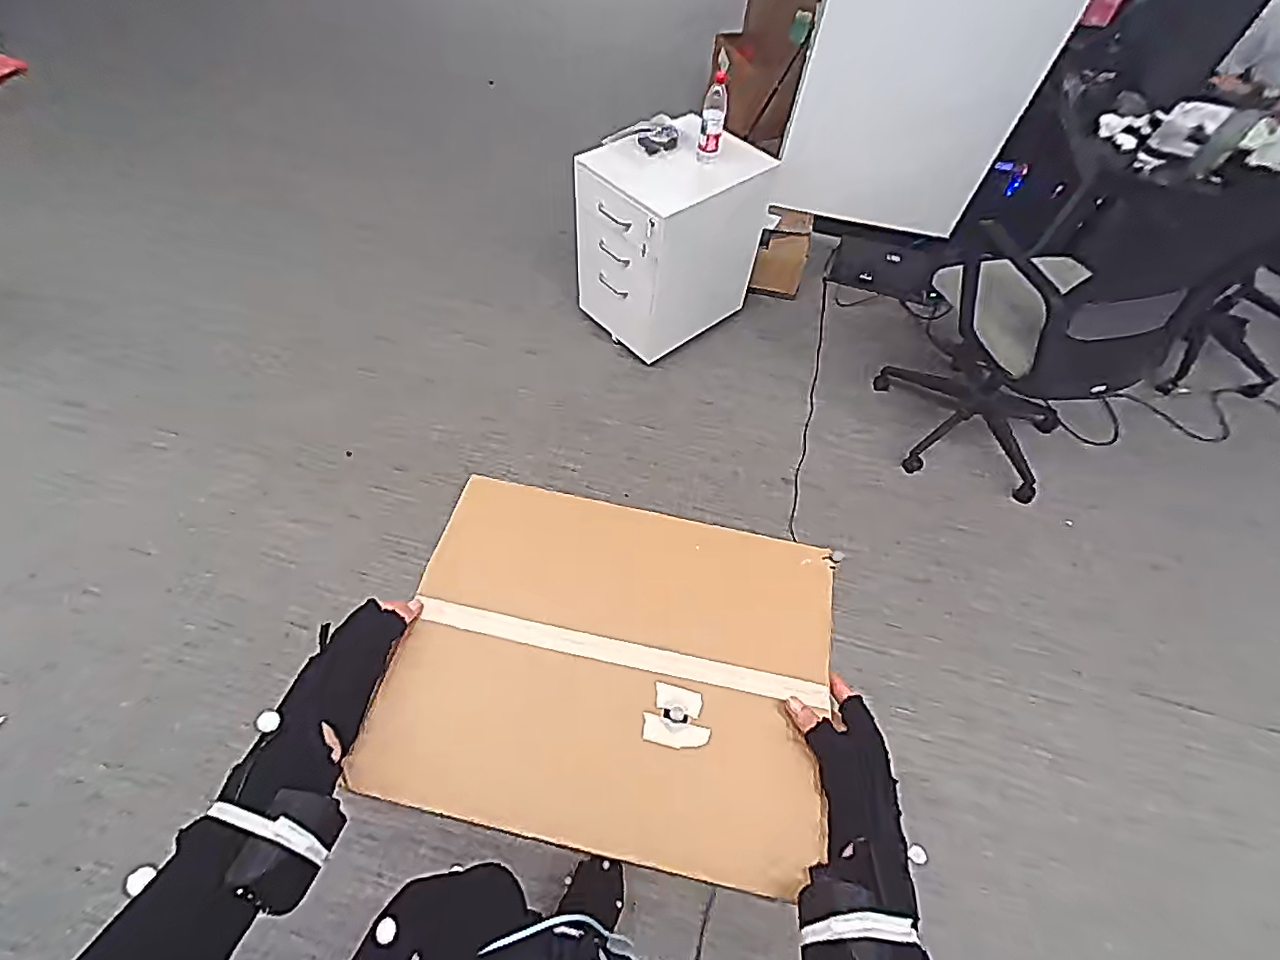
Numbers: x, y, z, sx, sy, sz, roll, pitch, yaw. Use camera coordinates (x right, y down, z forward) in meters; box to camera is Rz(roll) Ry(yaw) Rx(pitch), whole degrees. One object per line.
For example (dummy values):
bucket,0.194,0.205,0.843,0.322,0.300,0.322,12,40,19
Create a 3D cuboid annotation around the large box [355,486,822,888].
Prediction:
large box,-0.032,0.247,0.653,0.408,0.320,0.320,12,59,4
